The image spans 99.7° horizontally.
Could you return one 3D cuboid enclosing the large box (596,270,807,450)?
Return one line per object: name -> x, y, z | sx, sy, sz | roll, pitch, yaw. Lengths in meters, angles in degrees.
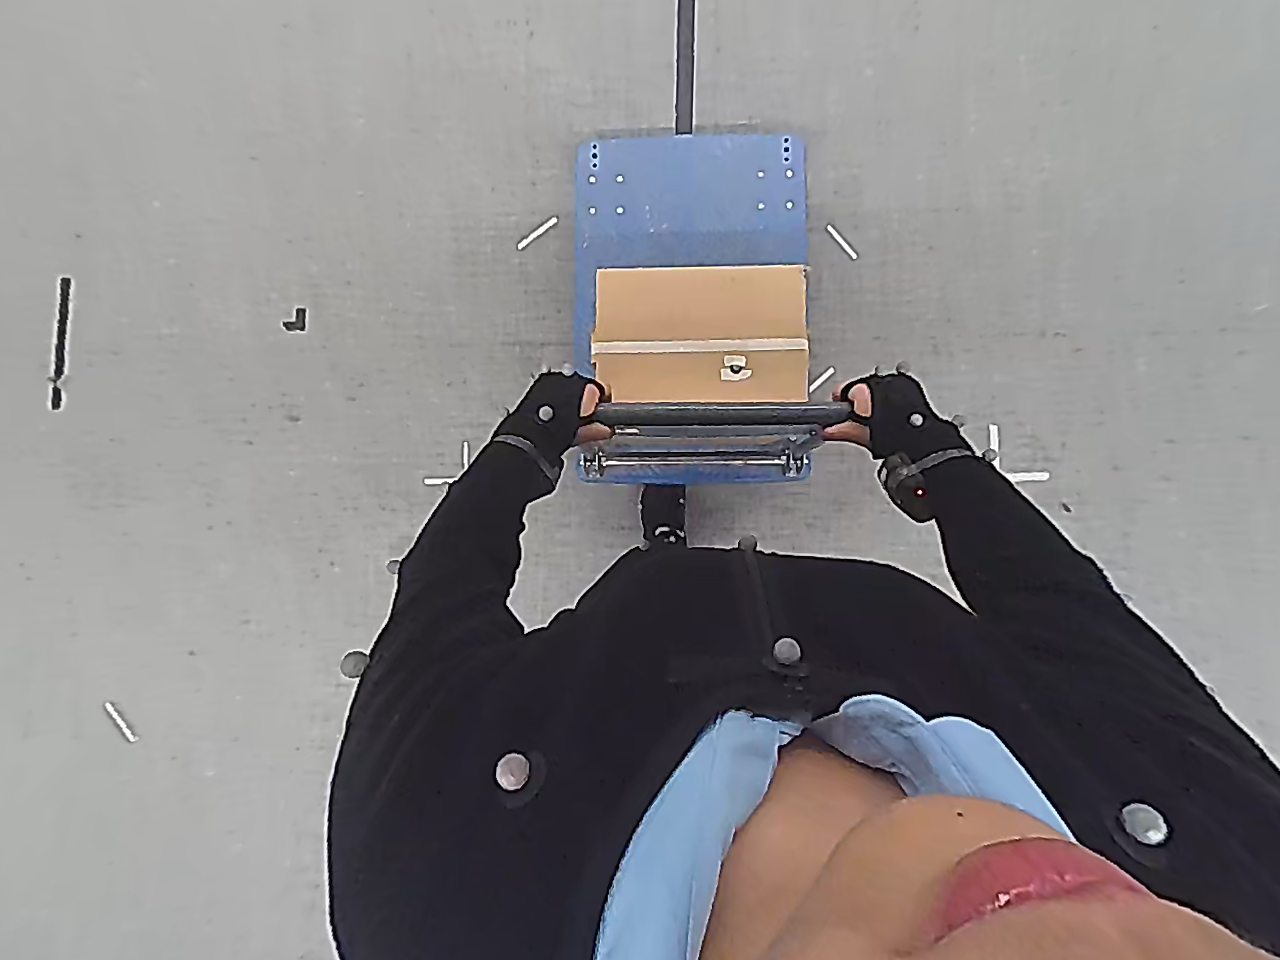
large box -> 0.120, -0.239, 1.184 | 0.408, 0.320, 0.320 | 0, 88, 2
